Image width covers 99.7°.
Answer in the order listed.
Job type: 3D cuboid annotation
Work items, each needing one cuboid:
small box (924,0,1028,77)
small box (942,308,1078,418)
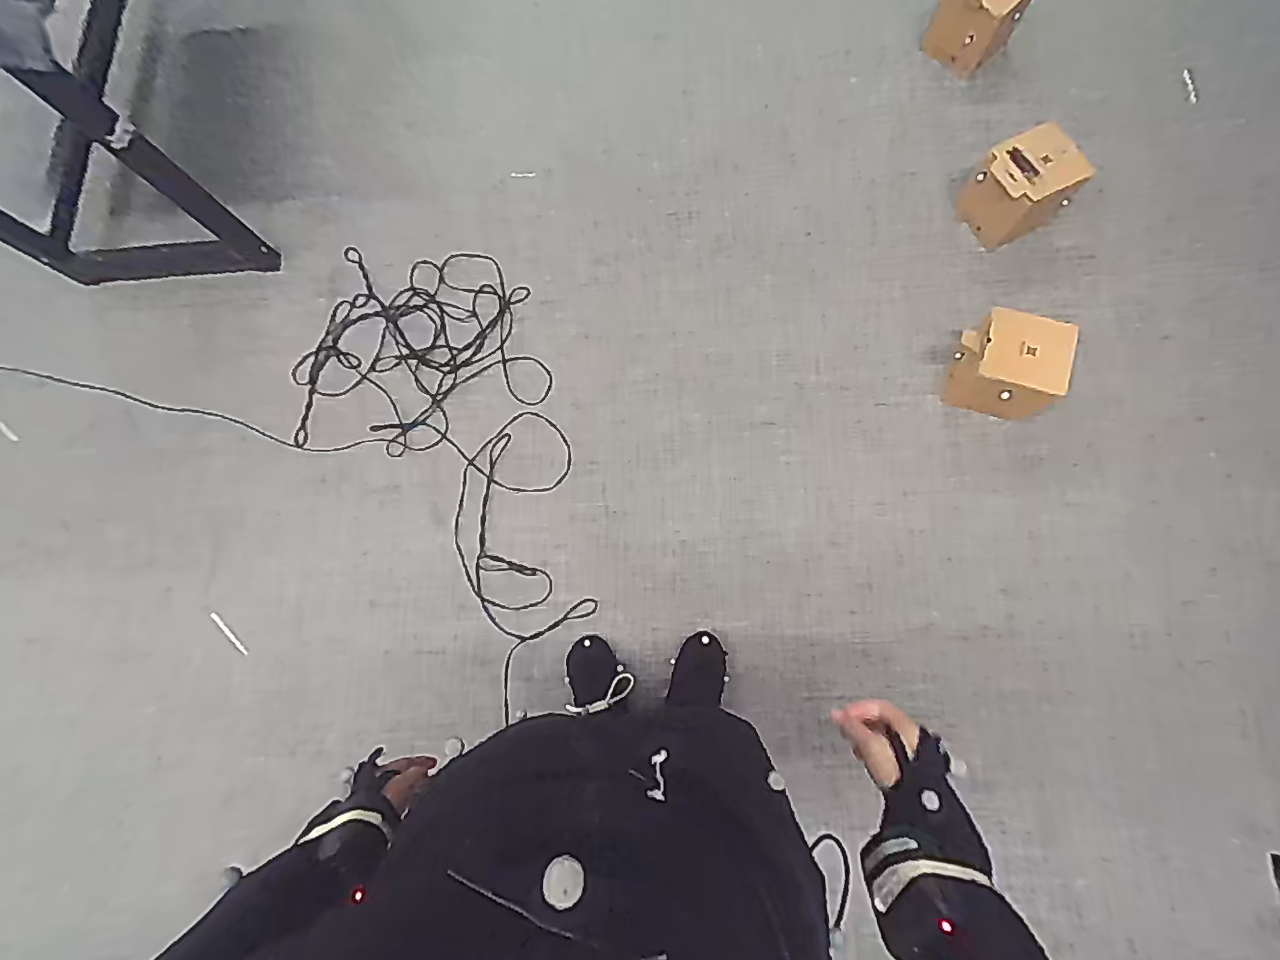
[{"bbox_3d":[0.881,-1.215,1.414,0.179,0.176,0.168,-45,79,-7],"label":"small box"},{"bbox_3d":[0.815,-0.251,1.204,0.179,0.176,0.168,17,80,8],"label":"small box"}]
